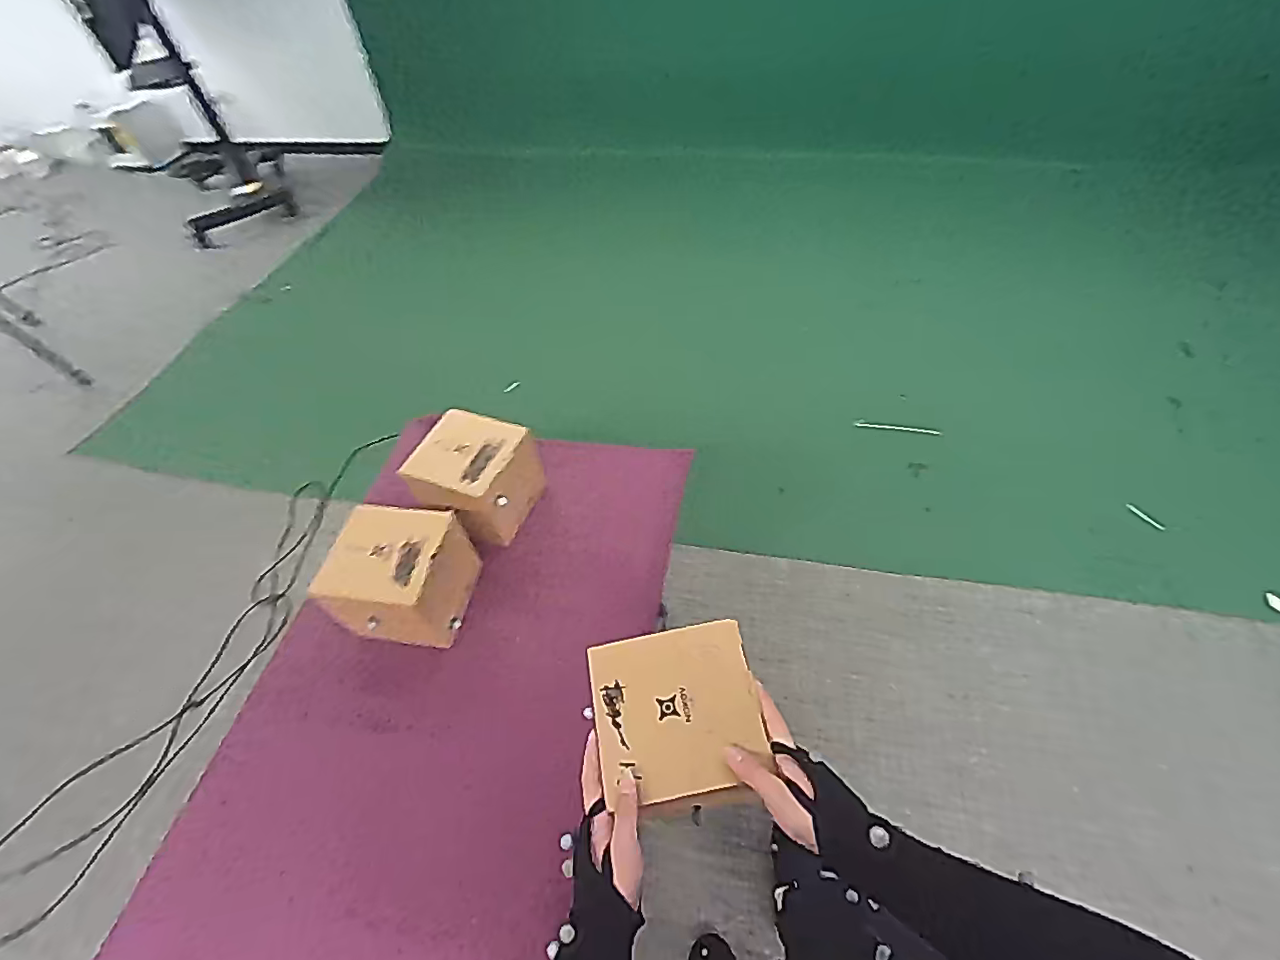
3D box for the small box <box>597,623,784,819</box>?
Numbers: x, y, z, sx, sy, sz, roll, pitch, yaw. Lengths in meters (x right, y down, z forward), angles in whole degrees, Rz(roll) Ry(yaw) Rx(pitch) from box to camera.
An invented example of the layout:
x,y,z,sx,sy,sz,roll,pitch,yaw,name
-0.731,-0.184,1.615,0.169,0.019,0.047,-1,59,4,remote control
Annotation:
x,y,z,sx,sy,sz,roll,pitch,yaw,name
0.051,0.285,0.631,0.179,0.176,0.168,-9,53,0,small box
